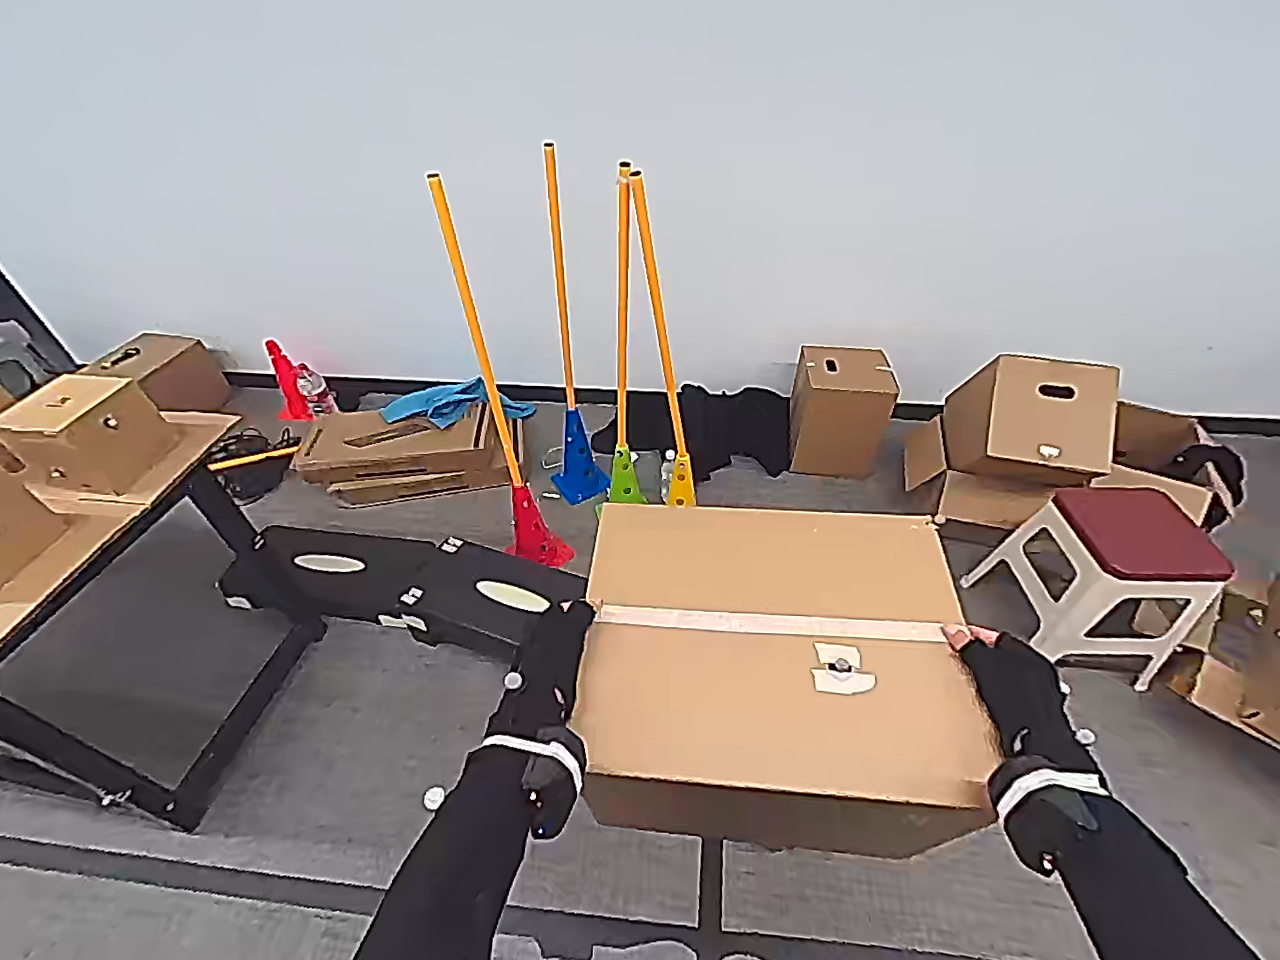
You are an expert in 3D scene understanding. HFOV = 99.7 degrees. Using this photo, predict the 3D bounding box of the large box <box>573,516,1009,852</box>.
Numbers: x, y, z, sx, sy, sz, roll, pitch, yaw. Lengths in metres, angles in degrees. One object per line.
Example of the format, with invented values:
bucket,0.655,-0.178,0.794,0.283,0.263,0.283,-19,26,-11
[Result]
large box,0.149,0.264,0.702,0.408,0.320,0.320,2,50,6
